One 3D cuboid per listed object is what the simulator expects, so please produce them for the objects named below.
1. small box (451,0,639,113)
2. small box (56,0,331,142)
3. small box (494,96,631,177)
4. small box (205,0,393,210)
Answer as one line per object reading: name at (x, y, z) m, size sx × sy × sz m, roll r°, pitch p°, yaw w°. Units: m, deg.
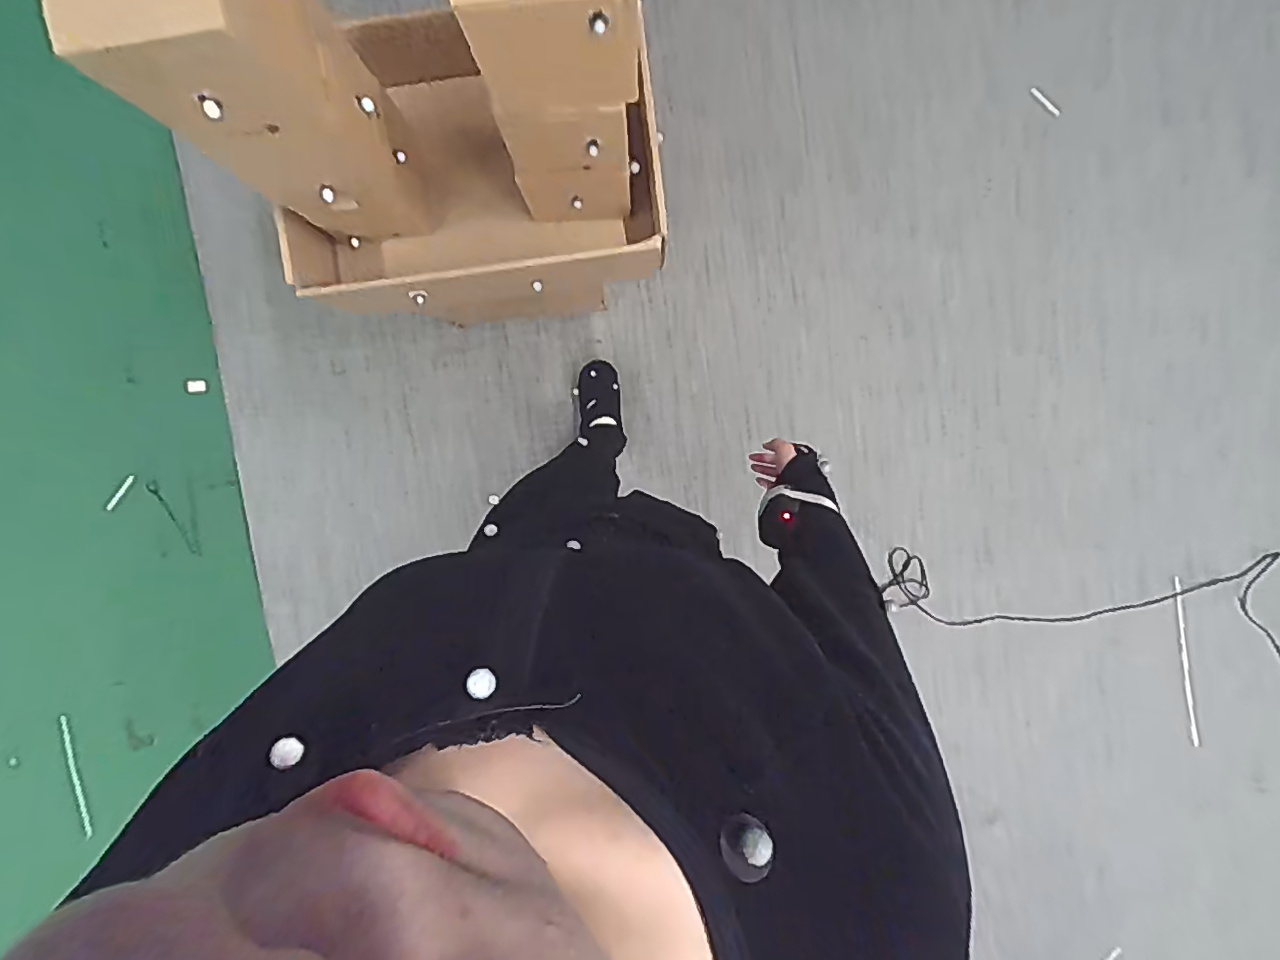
small box at (-0.095, -0.523, 0.571) m, size 0.179 × 0.176 × 0.168 m, roll -6°, pitch 93°, yaw -1°
small box at (-0.462, -0.492, 0.577) m, size 0.168 × 0.176 × 0.179 m, roll -7°, pitch 93°, yaw 1°
small box at (-0.096, -0.535, 0.733) m, size 0.168 × 0.176 × 0.179 m, roll -1°, pitch 93°, yaw 0°
small box at (-0.462, -0.499, 0.743) m, size 0.179 × 0.176 × 0.168 m, roll -9°, pitch 93°, yaw 1°
